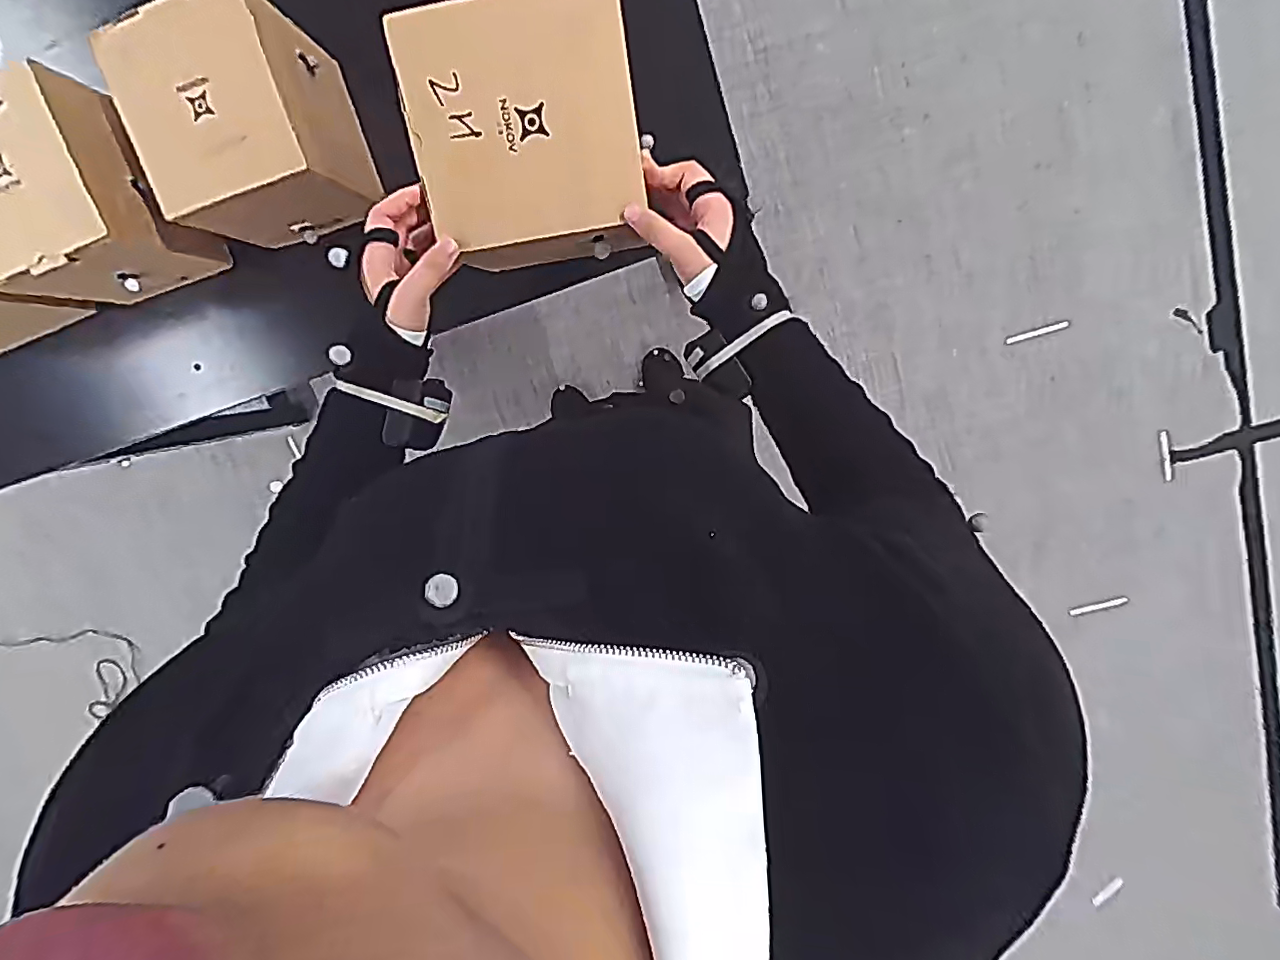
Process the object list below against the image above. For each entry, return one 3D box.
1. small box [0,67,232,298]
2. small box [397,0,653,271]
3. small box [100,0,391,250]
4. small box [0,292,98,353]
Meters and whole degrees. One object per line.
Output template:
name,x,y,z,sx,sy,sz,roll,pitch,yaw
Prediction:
small box,-0.638,-0.323,0.633,0.168,0.176,0.179,-16,102,6
small box,-0.086,-0.295,0.498,0.179,0.176,0.168,-8,106,3
small box,-0.422,-0.385,0.613,0.168,0.176,0.179,-16,102,7
small box,-0.842,-0.259,0.654,0.179,0.176,0.168,-19,101,5
